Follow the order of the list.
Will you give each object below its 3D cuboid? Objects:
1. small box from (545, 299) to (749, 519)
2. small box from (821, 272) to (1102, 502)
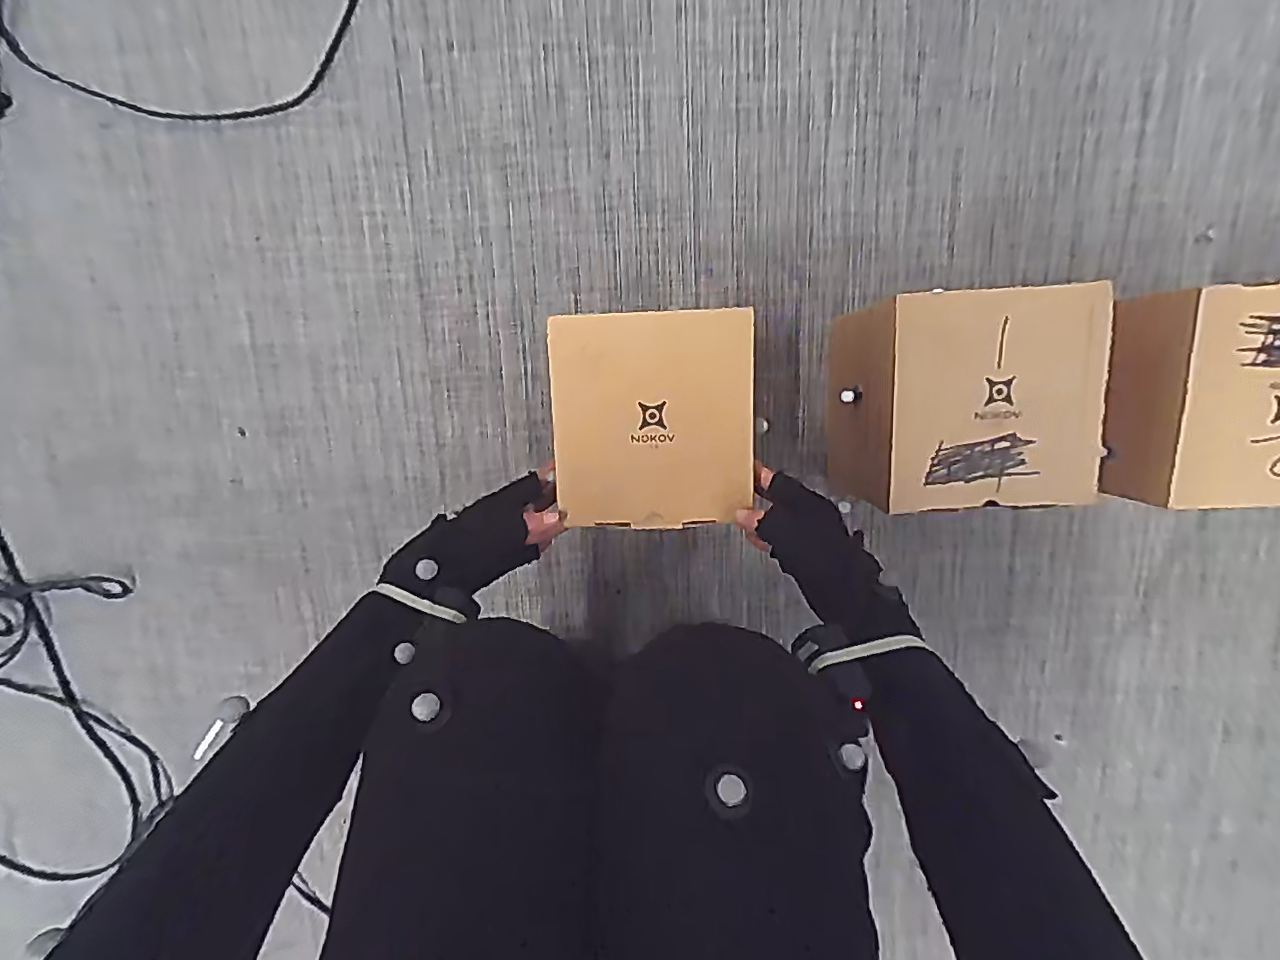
[{"bbox_3d":[0.009,-0.068,0.519,0.168,0.176,0.179,-2,100,3],"label":"small box"},{"bbox_3d":[0.275,-0.083,0.505,0.168,0.176,0.179,-2,99,3],"label":"small box"}]
